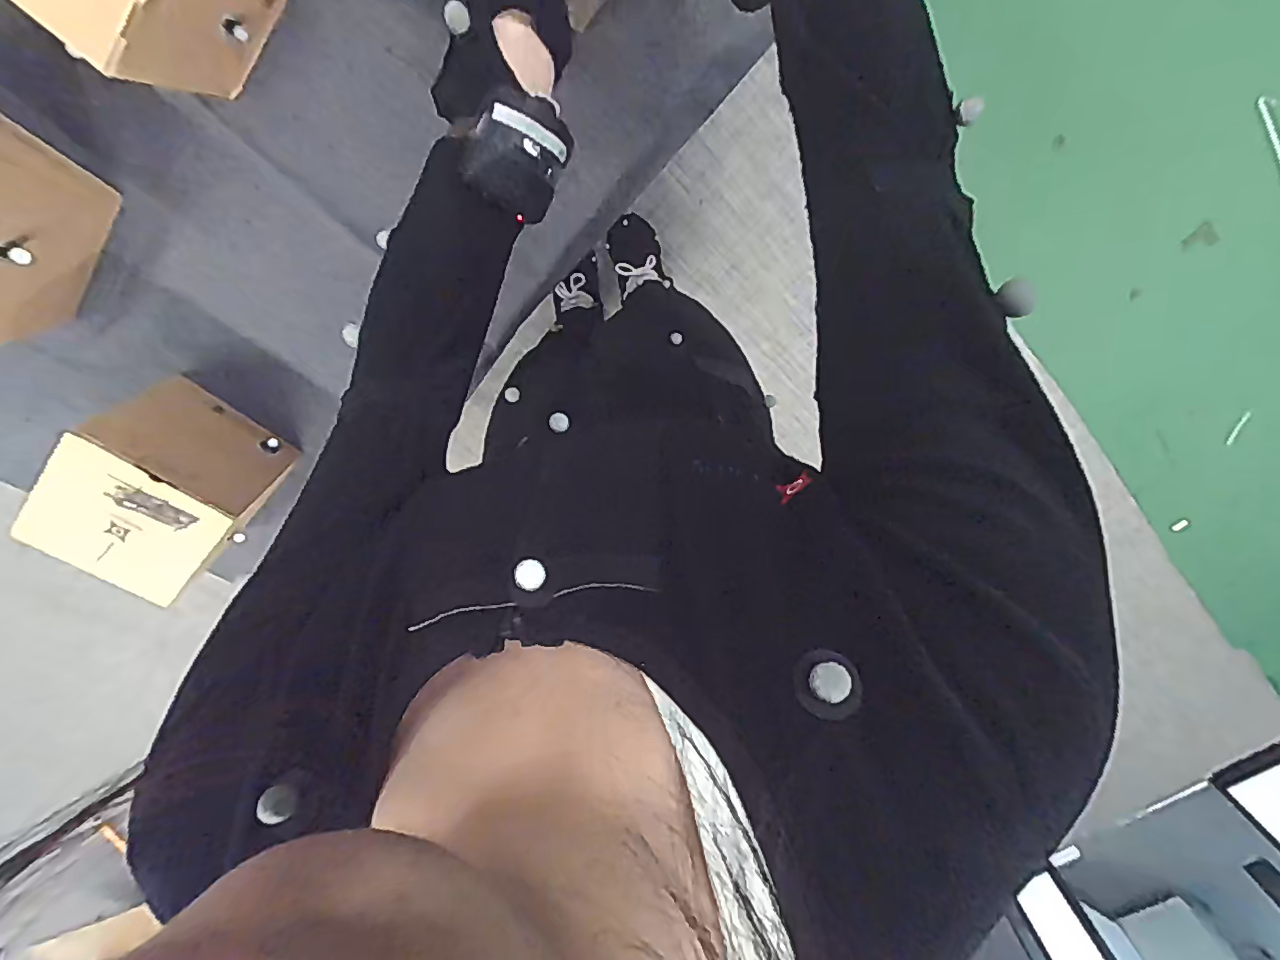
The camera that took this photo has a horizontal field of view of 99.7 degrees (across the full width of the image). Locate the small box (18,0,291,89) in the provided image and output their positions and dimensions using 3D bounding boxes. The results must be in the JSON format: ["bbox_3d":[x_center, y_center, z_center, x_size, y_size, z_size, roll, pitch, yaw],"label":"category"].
[{"bbox_3d":[-0.404,-0.442,0.413,0.179,0.176,0.168,38,110,-25],"label":"small box"}]

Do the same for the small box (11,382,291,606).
[{"bbox_3d":[-0.569,0.010,0.658,0.179,0.176,0.168,-42,115,18],"label":"small box"}]

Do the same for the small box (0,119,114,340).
[{"bbox_3d":[-0.653,-0.246,0.498,0.168,0.176,0.179,37,111,-24],"label":"small box"}]
